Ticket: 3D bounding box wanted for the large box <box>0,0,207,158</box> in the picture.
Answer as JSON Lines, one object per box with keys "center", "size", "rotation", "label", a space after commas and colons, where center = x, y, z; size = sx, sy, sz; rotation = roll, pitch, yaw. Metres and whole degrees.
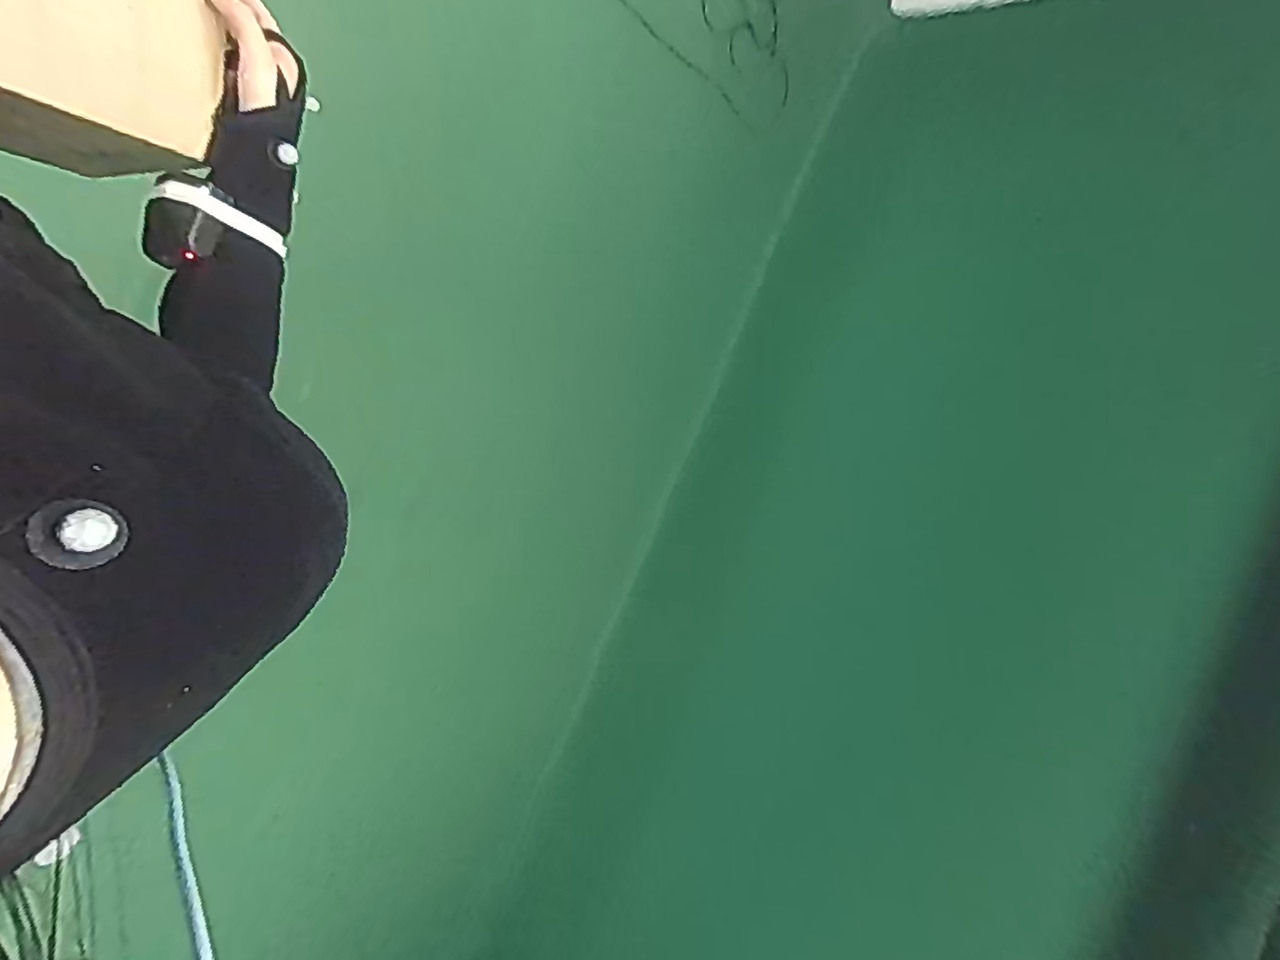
{"center": [-0.562, -0.438, 0.326], "size": [0.408, 0.320, 0.320], "rotation": [-8, 111, -58], "label": "large box"}
